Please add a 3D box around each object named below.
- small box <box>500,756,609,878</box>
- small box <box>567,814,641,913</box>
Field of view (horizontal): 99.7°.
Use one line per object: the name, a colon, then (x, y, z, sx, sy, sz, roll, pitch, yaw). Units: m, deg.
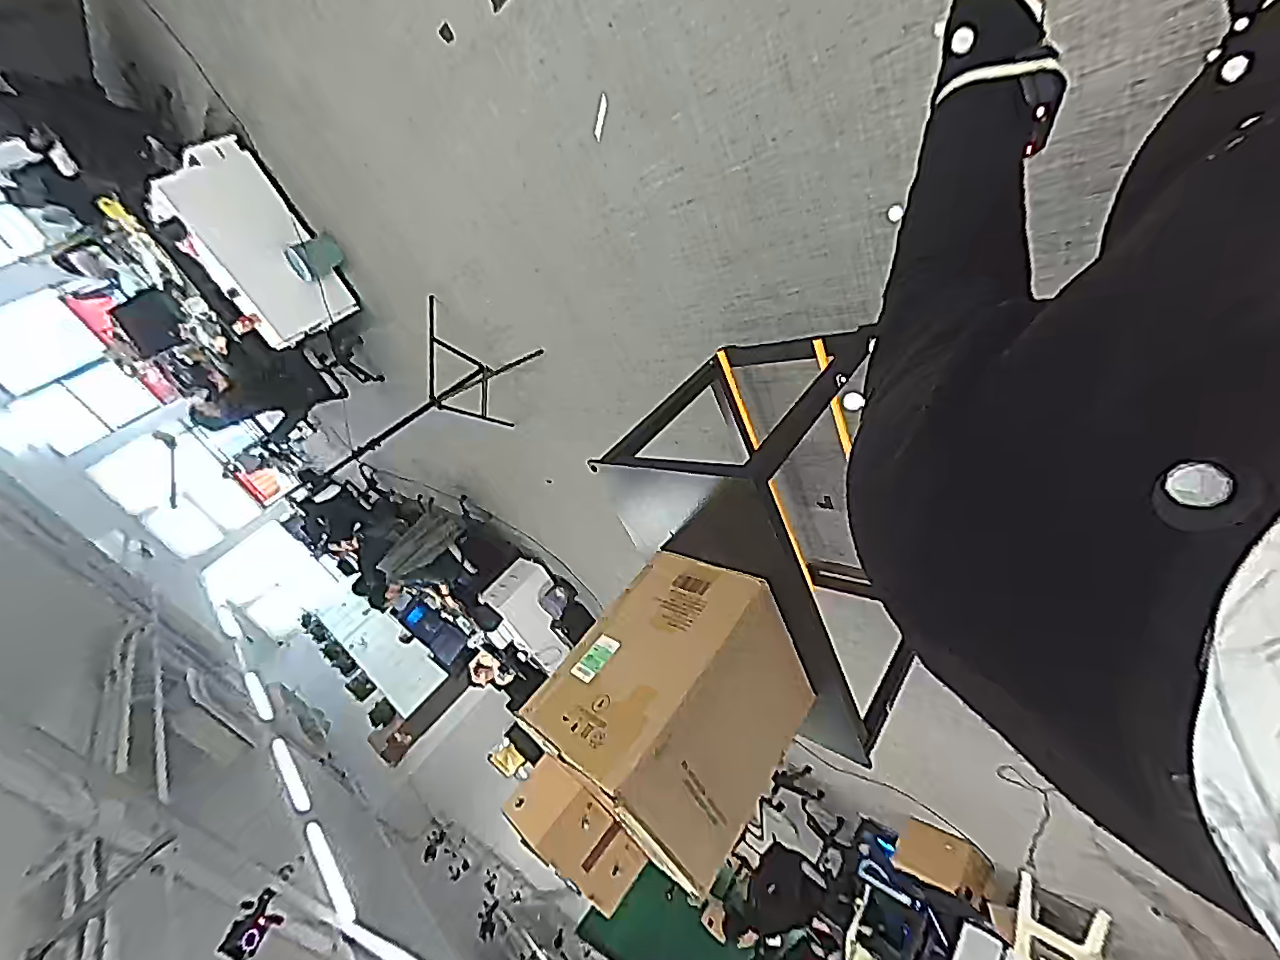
small box: (-0.210, 0.827, 1.348, 0.179, 0.176, 0.168, 7, 135, 50)
small box: (-0.120, 1.002, 1.462, 0.179, 0.176, 0.168, 4, 131, 51)
